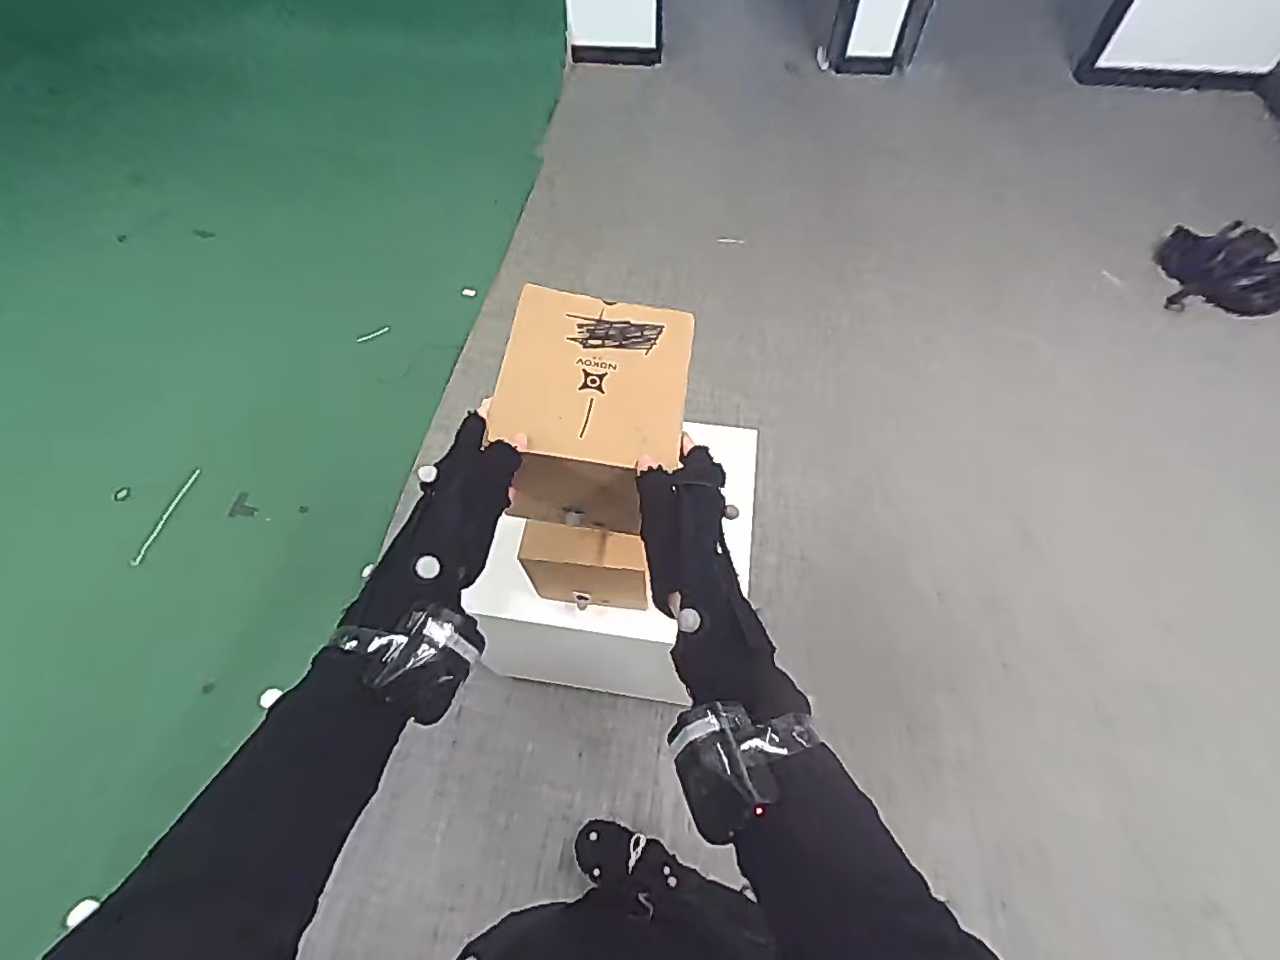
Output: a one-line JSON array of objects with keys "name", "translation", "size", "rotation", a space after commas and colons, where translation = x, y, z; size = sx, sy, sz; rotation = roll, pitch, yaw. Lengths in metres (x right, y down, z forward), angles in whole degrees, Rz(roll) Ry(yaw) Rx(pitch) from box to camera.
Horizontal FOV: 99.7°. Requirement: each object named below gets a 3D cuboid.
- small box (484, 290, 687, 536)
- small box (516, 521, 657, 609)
[{"name": "small box", "translation": [-0.050, -0.060, 0.555], "size": [0.168, 0.176, 0.179], "rotation": [7, 63, -3]}, {"name": "small box", "translation": [-0.063, 0.070, 0.777], "size": [0.168, 0.176, 0.179], "rotation": [4, 61, 6]}]
